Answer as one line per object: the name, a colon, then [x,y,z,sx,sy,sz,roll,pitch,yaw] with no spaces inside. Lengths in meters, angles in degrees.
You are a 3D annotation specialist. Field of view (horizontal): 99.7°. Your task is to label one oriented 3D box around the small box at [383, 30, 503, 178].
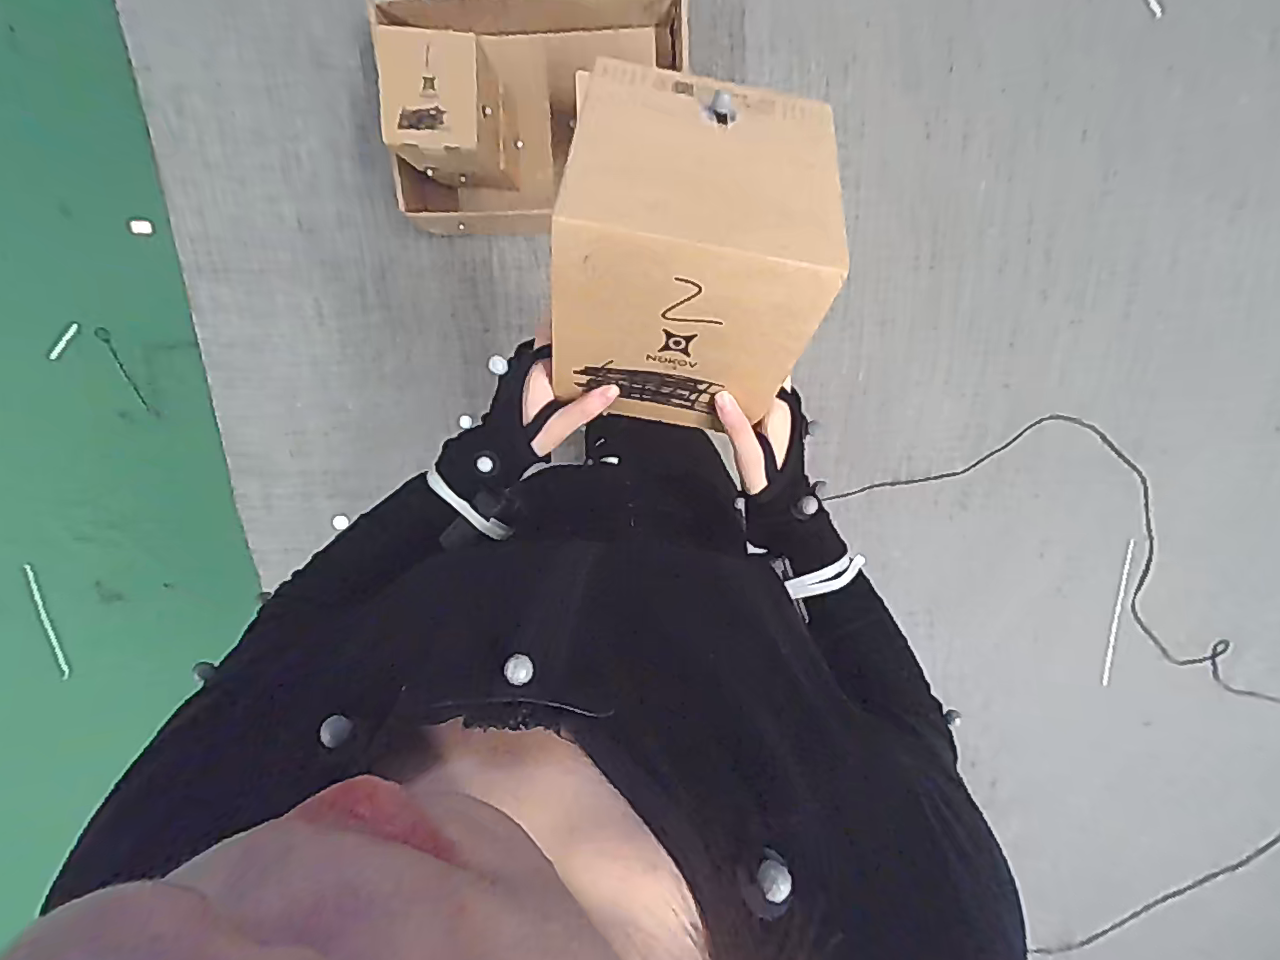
small box: [-0.353,-0.677,0.996,0.168,0.176,0.179,4,104,-2]
